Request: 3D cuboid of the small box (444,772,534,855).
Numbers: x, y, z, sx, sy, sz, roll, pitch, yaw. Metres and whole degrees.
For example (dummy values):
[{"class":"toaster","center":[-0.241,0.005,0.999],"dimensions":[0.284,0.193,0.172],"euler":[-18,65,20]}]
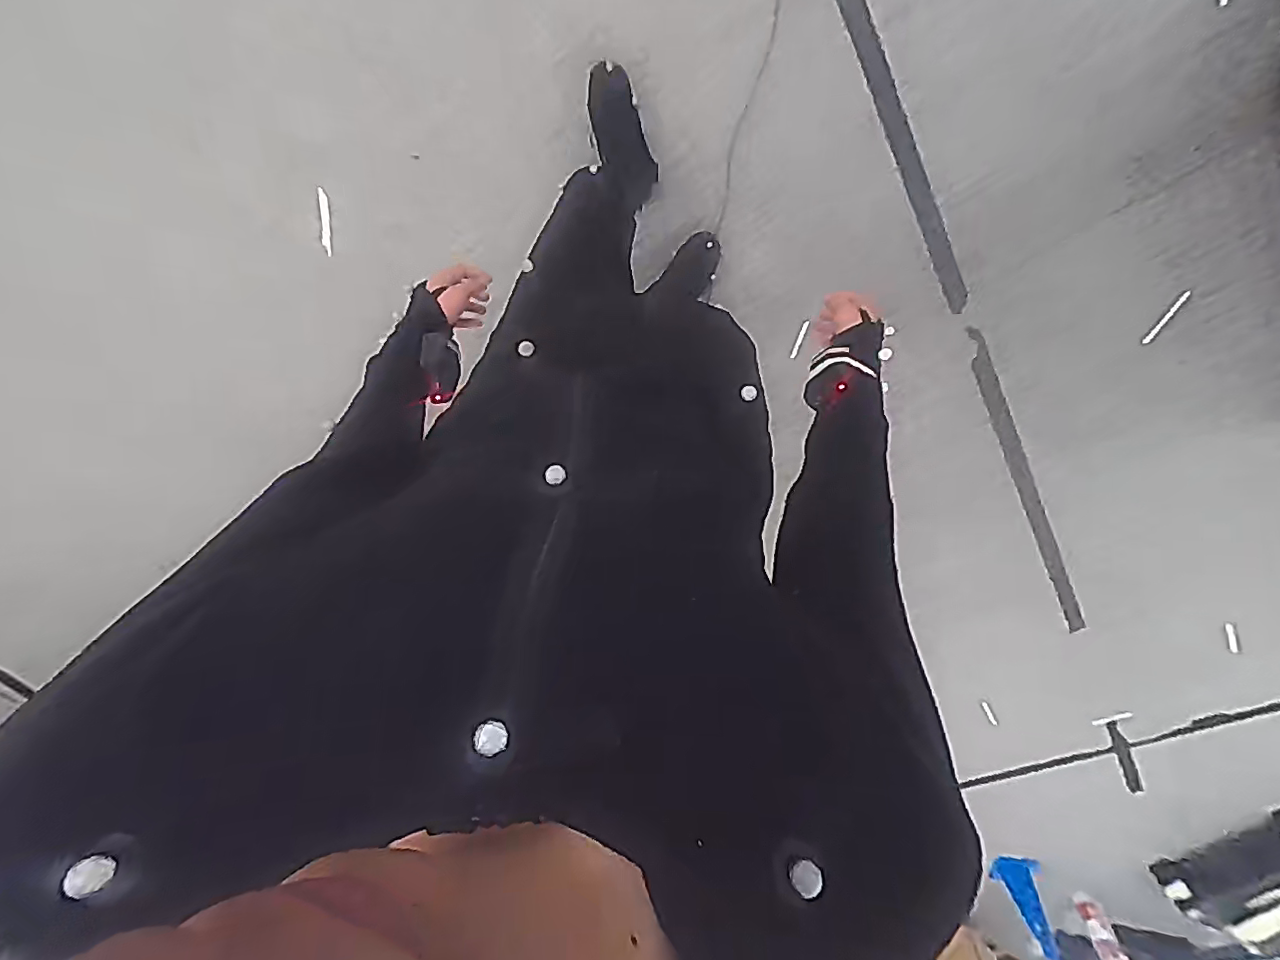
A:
[{"class":"small box","center":[-0.452,1.030,1.652],"dimensions":[0.179,0.176,0.168],"euler":[-27,114,22]}]
